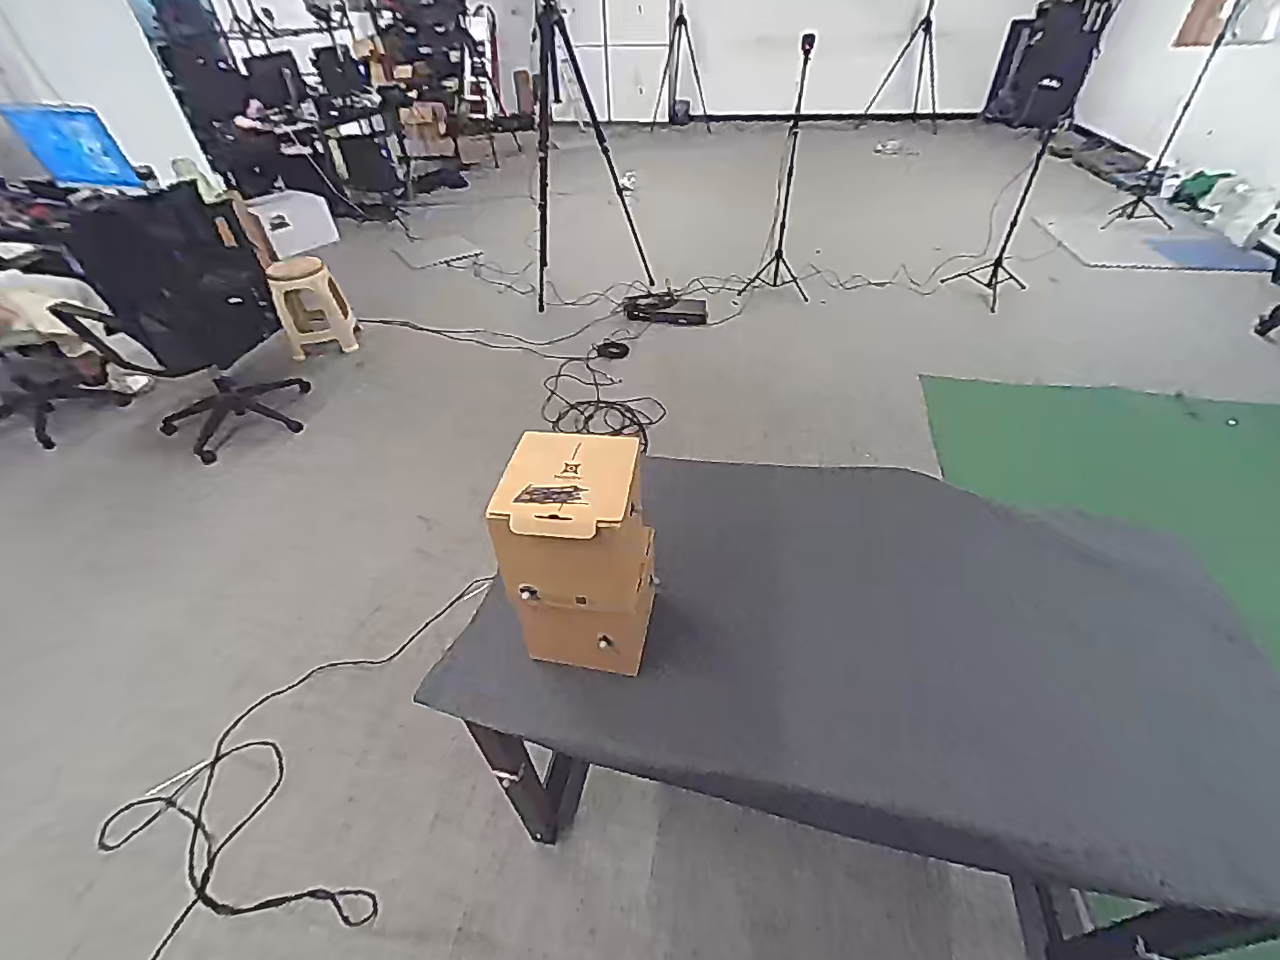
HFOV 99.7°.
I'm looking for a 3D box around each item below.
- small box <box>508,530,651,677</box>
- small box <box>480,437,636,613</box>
[{"bbox_3d":[-0.081,0.186,0.846,0.179,0.176,0.168,5,40,10],"label":"small box"},{"bbox_3d":[-0.096,0.061,0.739,0.168,0.176,0.179,3,39,6],"label":"small box"}]
